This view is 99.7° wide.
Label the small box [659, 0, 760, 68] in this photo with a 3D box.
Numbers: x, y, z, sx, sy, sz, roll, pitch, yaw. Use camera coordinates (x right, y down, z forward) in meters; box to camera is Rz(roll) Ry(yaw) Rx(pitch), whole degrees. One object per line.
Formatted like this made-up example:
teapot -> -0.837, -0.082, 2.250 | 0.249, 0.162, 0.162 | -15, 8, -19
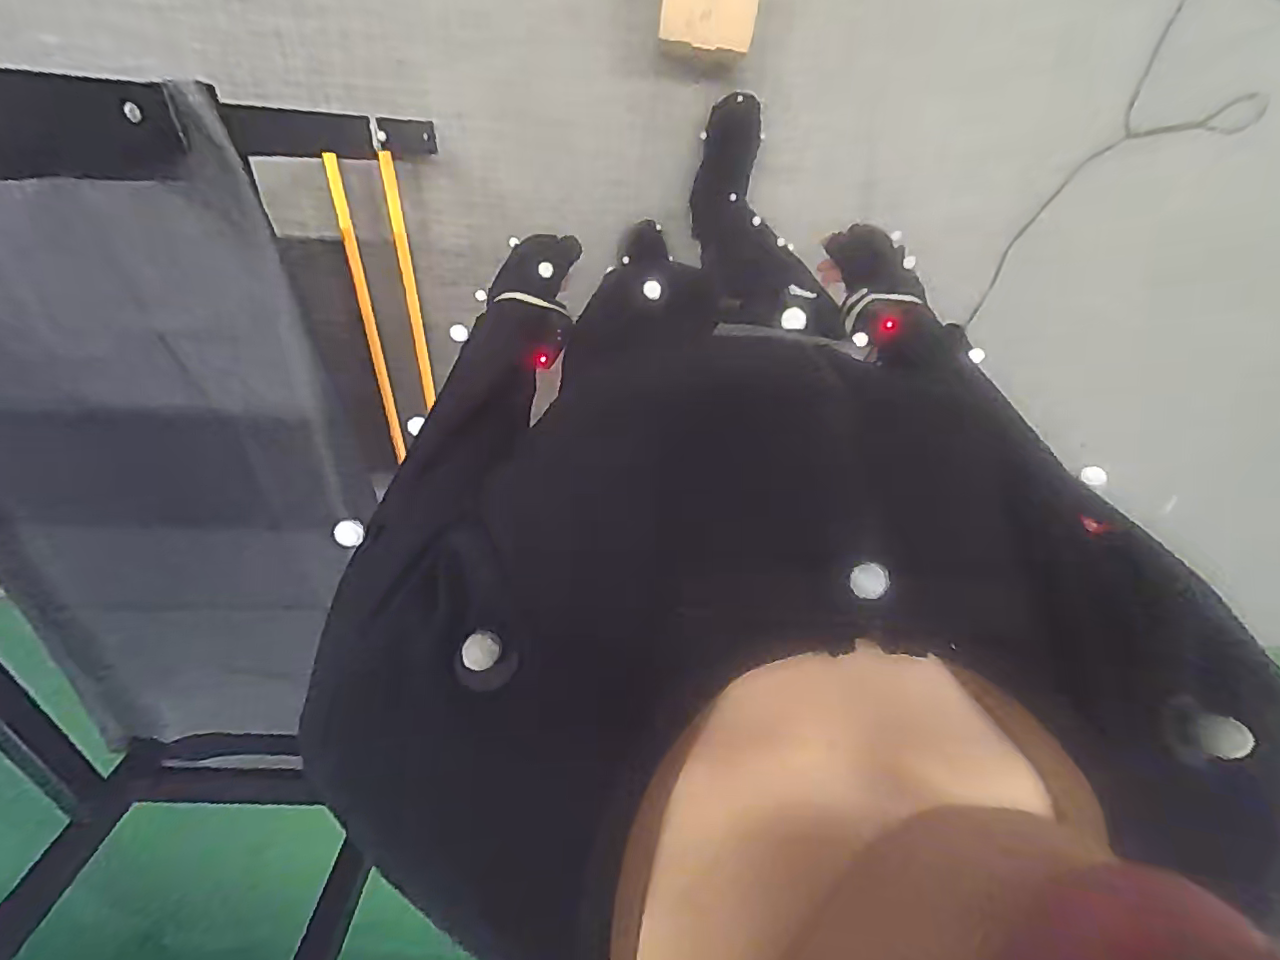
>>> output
small box -> 0.128, -0.882, 0.987 | 0.168, 0.176, 0.179 | 7, 122, -3
